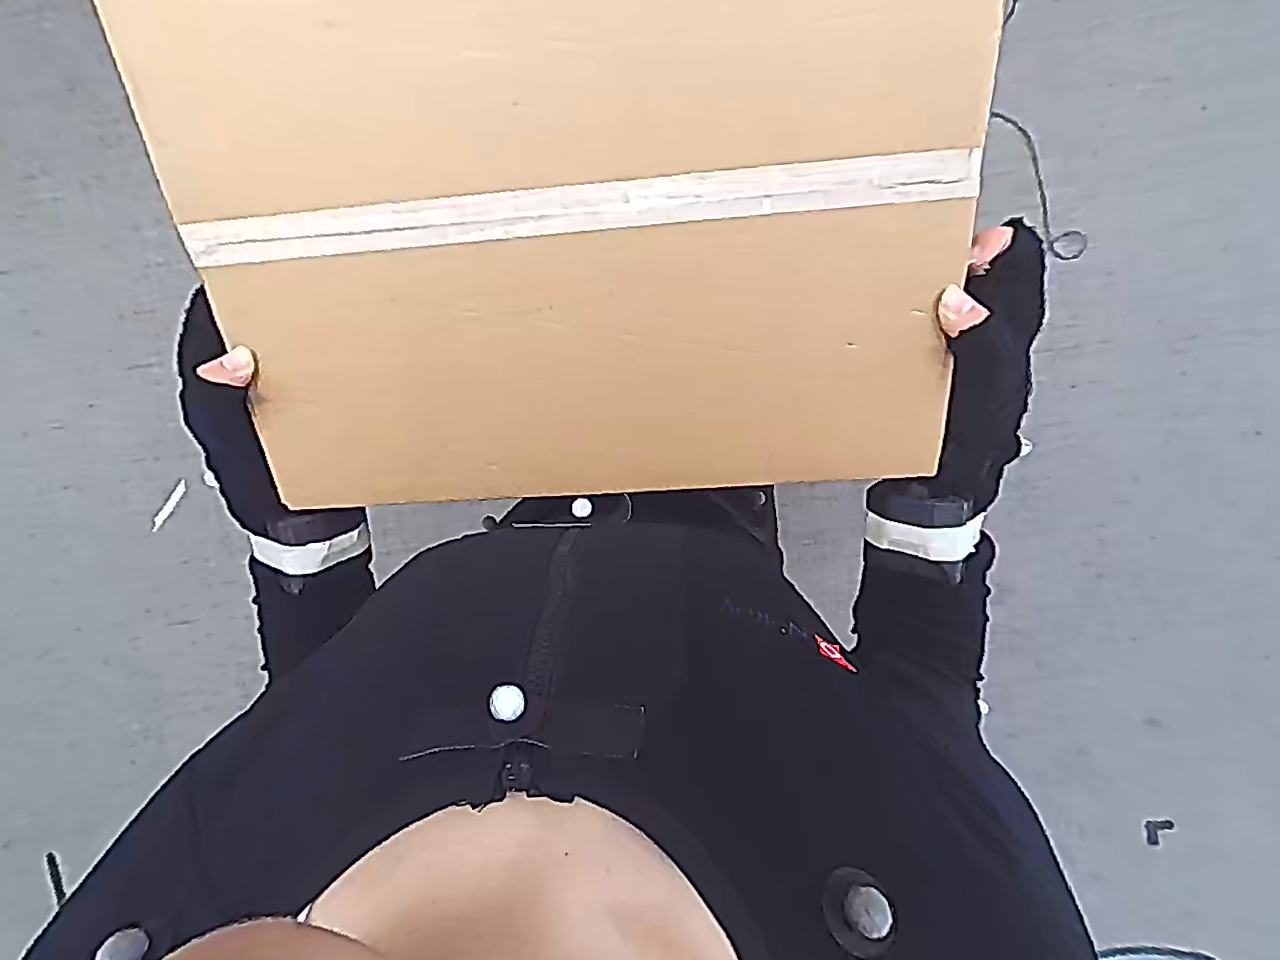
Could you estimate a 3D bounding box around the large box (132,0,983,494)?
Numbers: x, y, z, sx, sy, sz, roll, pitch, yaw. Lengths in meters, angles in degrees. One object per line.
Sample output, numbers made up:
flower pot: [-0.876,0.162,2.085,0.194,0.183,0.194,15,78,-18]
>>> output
large box: [-0.033,-0.201,0.421,0.408,0.320,0.320,-3,113,4]
